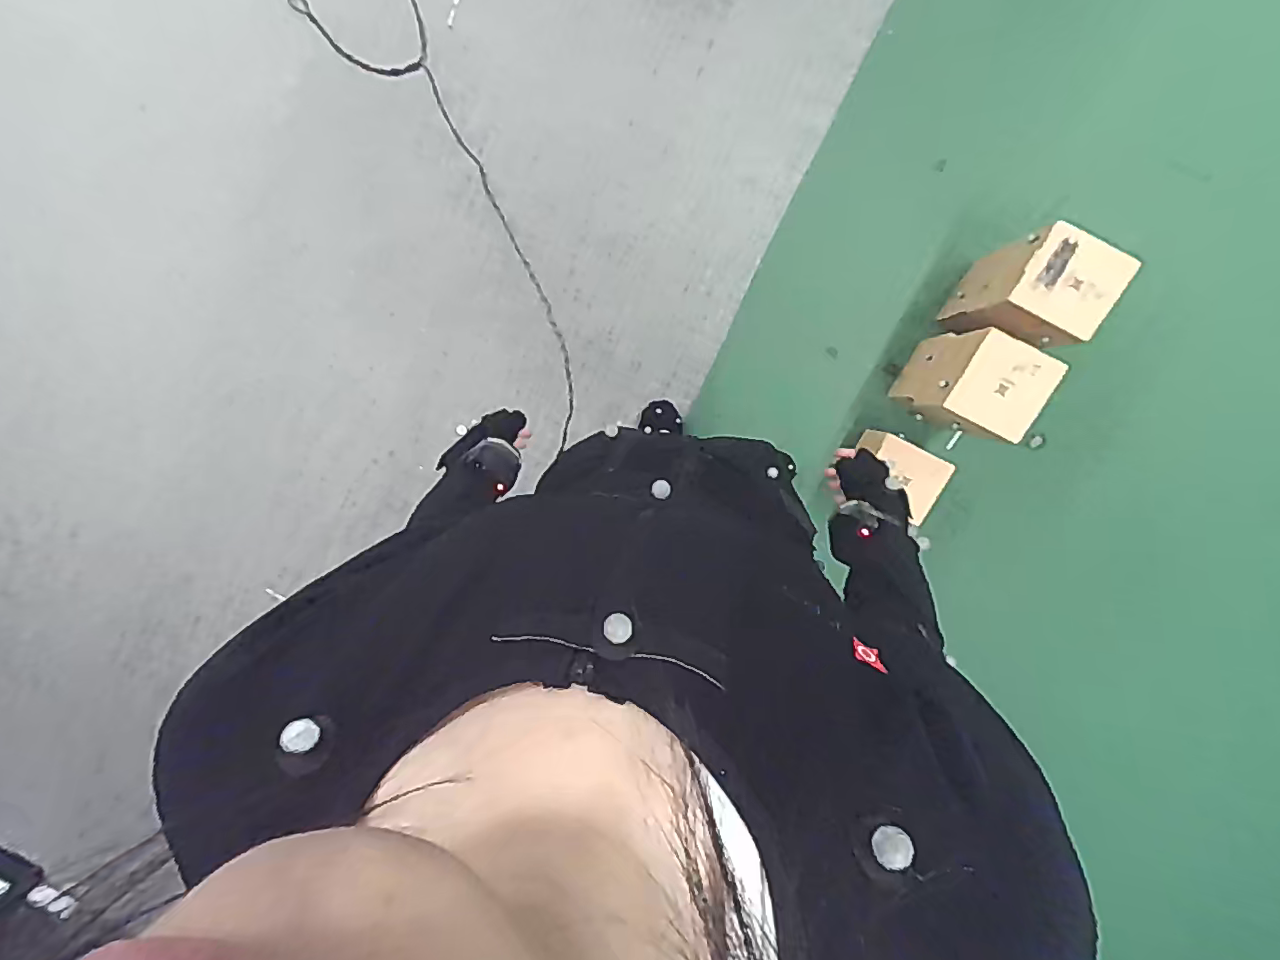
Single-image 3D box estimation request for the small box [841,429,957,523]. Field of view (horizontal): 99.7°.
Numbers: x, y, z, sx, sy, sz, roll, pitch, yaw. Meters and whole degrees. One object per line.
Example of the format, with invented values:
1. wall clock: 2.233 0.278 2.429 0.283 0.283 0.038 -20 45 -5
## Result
1. small box: 0.633 -0.020 1.347 0.179 0.176 0.168 27 101 3
